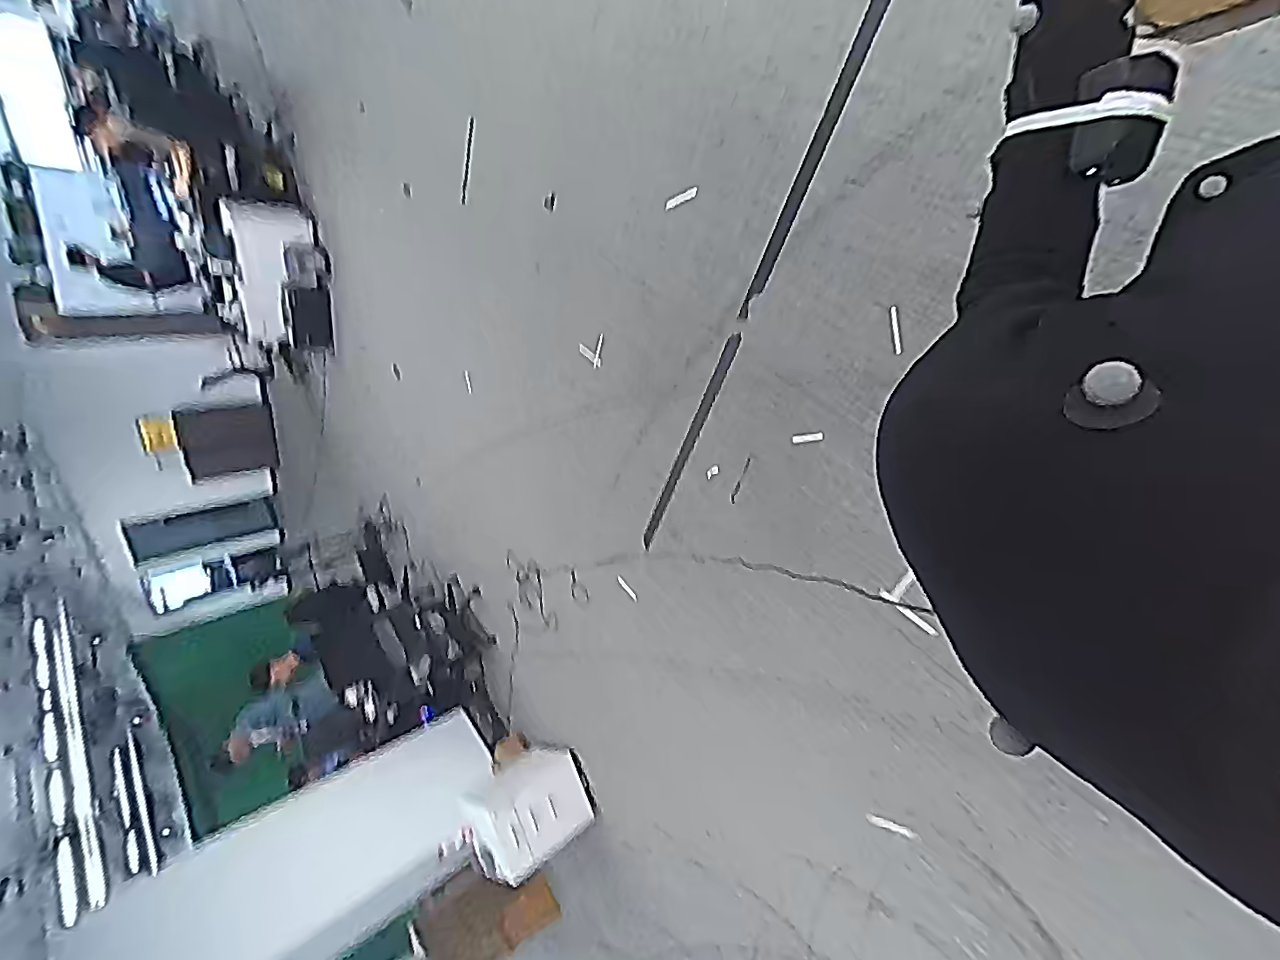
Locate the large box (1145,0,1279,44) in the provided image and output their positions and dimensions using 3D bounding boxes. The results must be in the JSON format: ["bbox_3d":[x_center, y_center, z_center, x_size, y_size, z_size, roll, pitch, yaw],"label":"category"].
[{"bbox_3d":[0.539,-0.492,0.264,0.408,0.320,0.320,7,123,47],"label":"large box"}]
